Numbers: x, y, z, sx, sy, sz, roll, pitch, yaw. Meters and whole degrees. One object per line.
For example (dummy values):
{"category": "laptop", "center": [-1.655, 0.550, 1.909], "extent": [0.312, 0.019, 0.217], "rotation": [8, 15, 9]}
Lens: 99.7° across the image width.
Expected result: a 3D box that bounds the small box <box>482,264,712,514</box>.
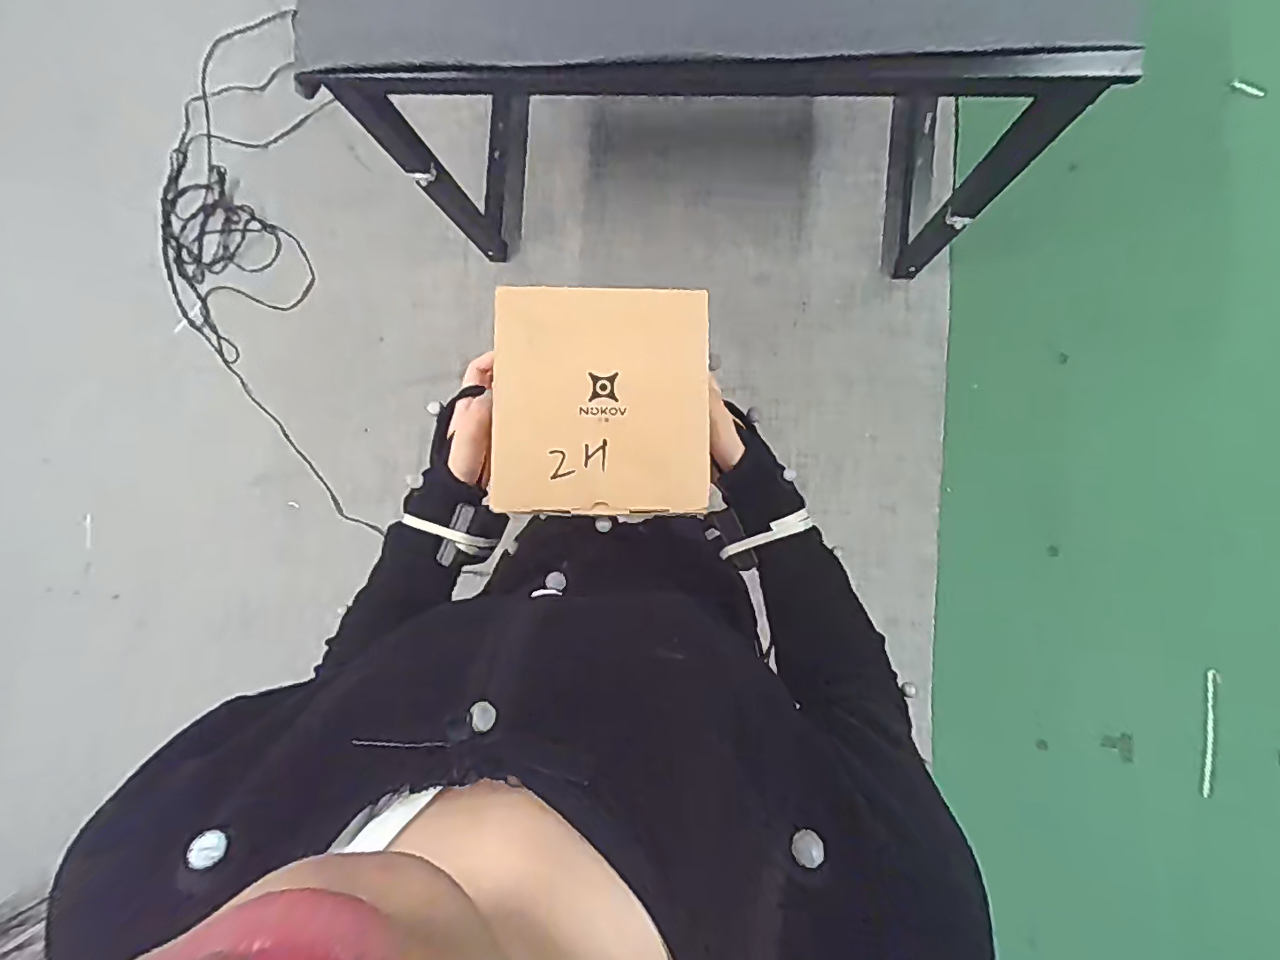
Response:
{"category": "small box", "center": [-0.033, -0.063, 0.473], "extent": [0.168, 0.176, 0.179], "rotation": [1, 84, -2]}
